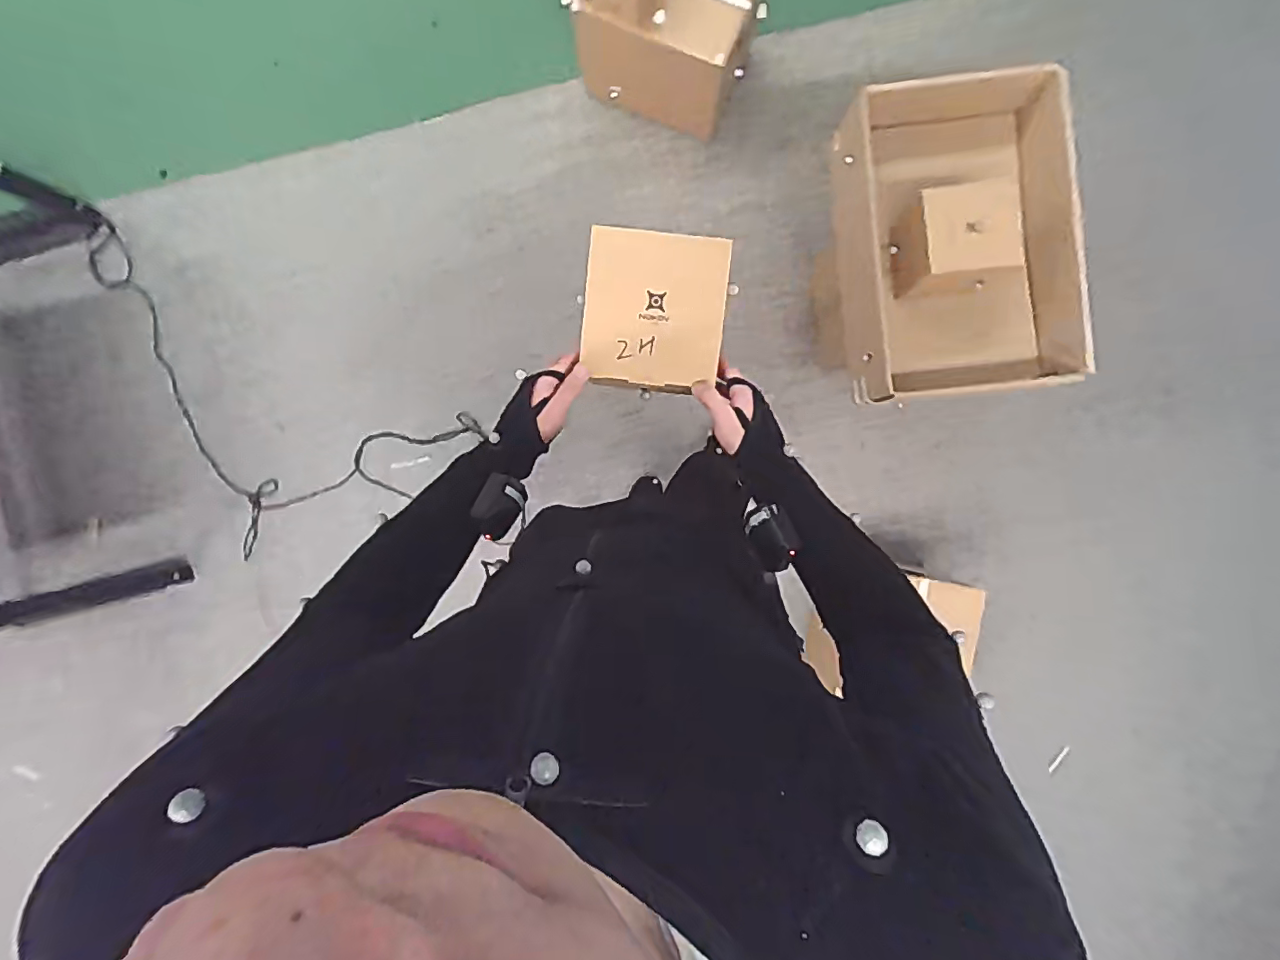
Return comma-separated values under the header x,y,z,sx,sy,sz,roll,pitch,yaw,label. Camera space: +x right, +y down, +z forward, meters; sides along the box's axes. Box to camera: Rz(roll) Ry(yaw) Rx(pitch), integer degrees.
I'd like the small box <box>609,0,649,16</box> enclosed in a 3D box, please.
x,y,z,sx,sy,sz,roll,pitch,yaw,label
-0.035,-1.203,1.203,0.168,0.176,0.179,26,92,0,small box

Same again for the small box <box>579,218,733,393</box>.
x,y,z,sx,sy,sz,roll,pitch,yaw,label
0.018,-0.213,0.704,0.168,0.176,0.179,6,96,1,small box

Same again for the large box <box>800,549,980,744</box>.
x,y,z,sx,sy,sz,roll,pitch,yaw,label
0.652,0.427,1.470,0.320,0.320,0.408,11,90,1,large box
